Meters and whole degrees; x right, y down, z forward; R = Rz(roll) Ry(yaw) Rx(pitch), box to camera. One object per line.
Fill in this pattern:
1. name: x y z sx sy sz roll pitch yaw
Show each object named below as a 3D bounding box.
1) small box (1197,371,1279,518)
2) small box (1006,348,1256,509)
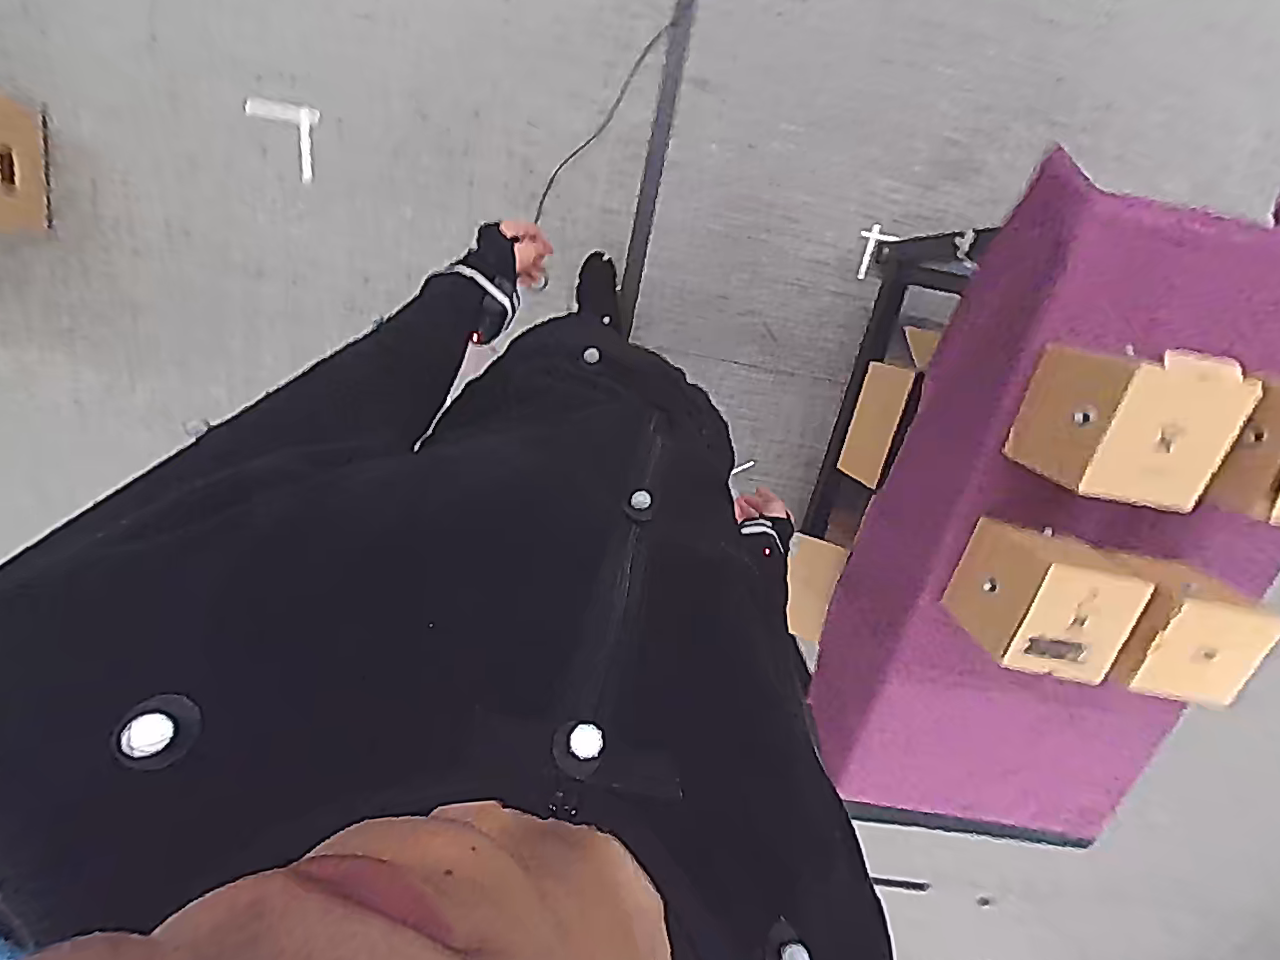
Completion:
1. small box: 0.912 -0.052 0.783 0.168 0.176 0.179 8 111 -3
2. small box: 0.673 -0.082 0.771 0.168 0.176 0.179 10 111 -4
